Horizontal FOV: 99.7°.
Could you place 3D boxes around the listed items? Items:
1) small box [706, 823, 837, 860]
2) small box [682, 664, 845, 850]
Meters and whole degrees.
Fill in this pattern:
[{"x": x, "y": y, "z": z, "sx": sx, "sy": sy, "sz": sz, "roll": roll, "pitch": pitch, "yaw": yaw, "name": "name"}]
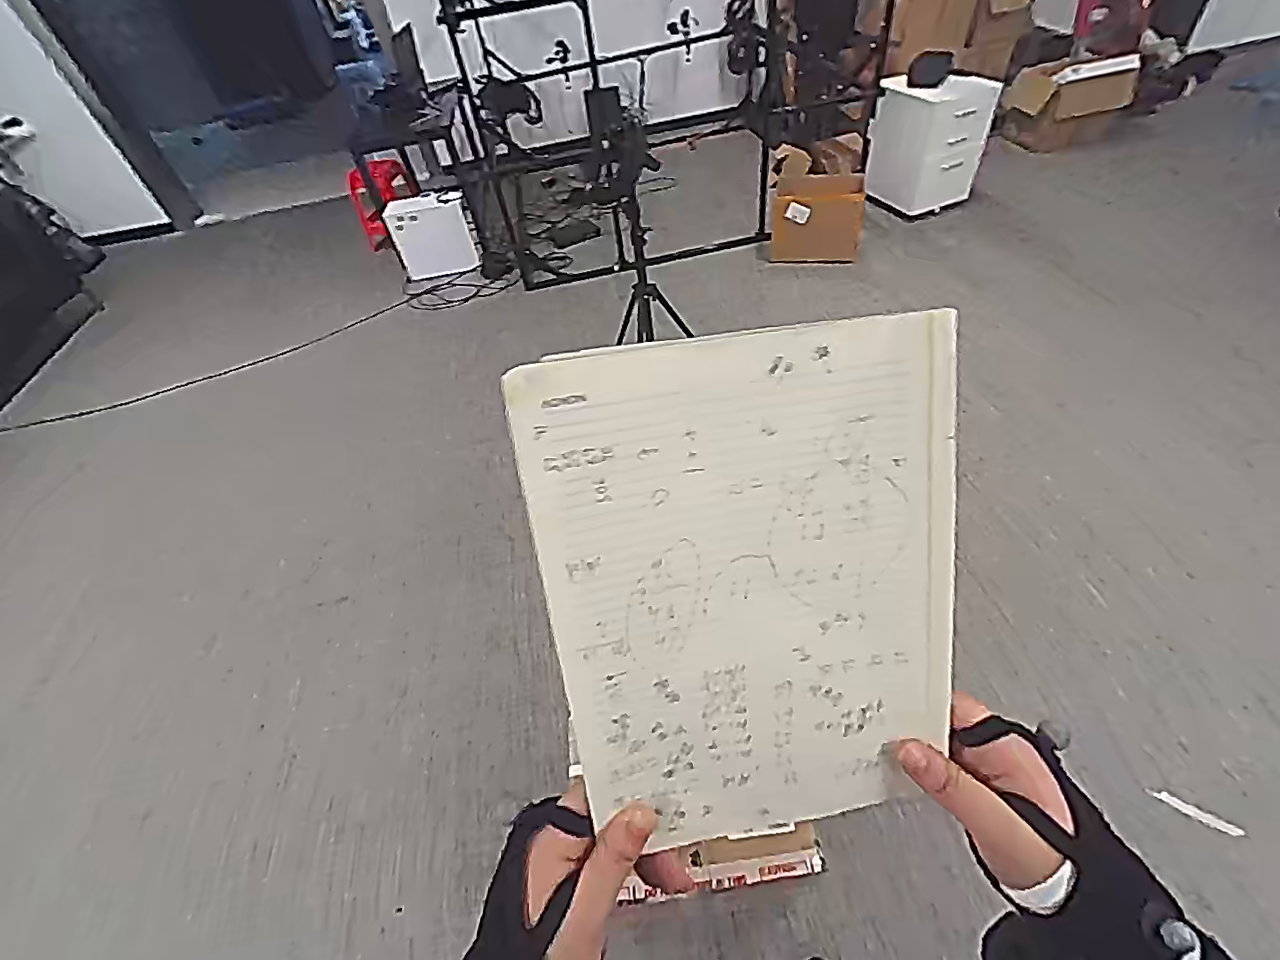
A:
[{"x": 0.176, "y": 0.468, "z": 0.834, "sx": 0.179, "sy": 0.176, "sz": 0.168, "roll": -9, "pitch": 48, "yaw": -2, "name": "small box"}, {"x": 0.145, "y": 0.364, "z": 0.709, "sx": 0.168, "sy": 0.176, "sz": 0.179, "roll": -6, "pitch": 49, "yaw": 0, "name": "small box"}]
